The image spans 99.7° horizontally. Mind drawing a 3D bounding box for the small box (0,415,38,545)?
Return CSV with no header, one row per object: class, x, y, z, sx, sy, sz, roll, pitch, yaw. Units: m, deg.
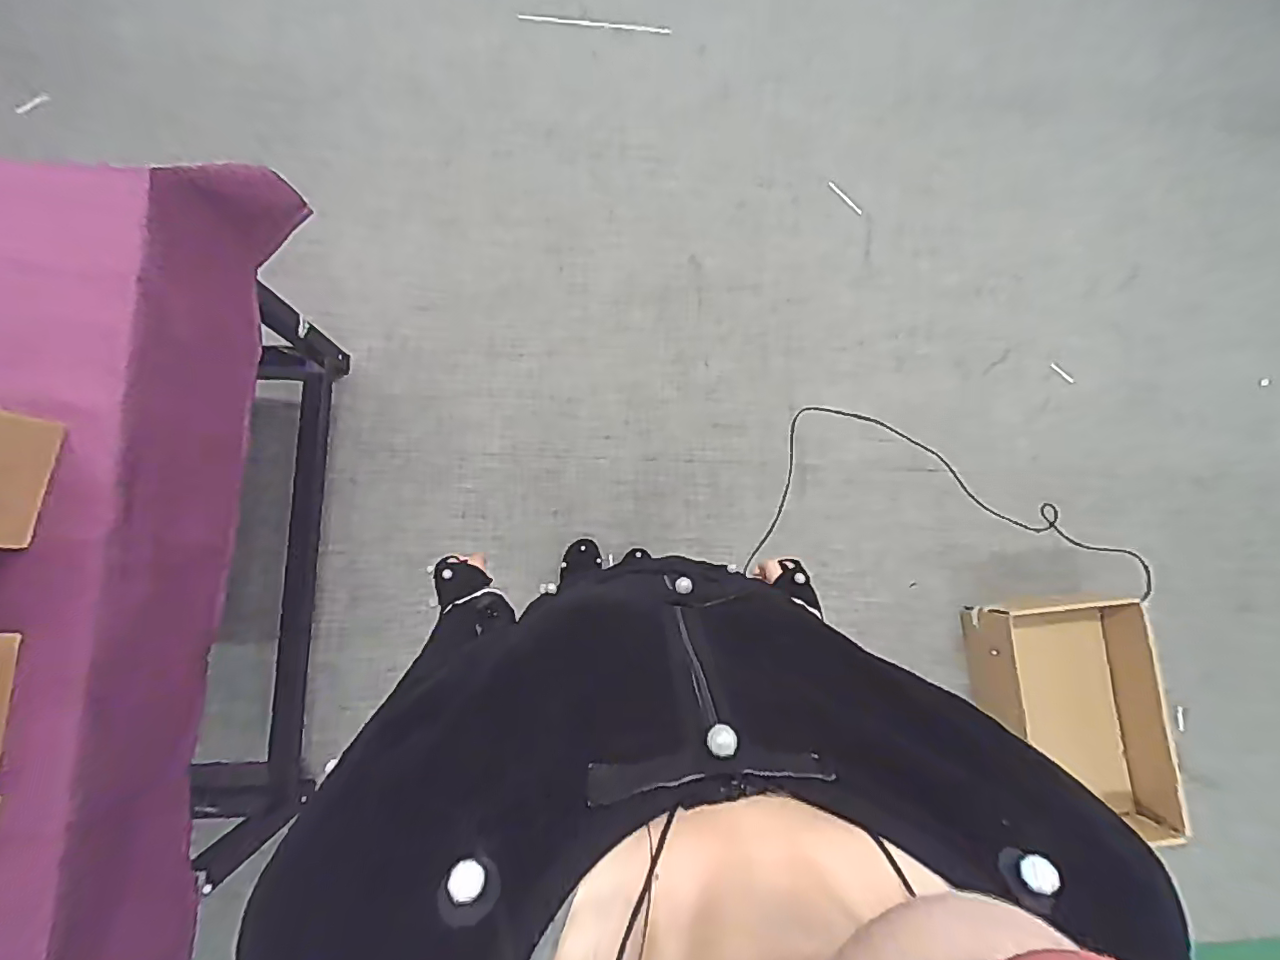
small box,-0.883,-0.013,0.630,0.168,0.176,0.179,9,81,-5
